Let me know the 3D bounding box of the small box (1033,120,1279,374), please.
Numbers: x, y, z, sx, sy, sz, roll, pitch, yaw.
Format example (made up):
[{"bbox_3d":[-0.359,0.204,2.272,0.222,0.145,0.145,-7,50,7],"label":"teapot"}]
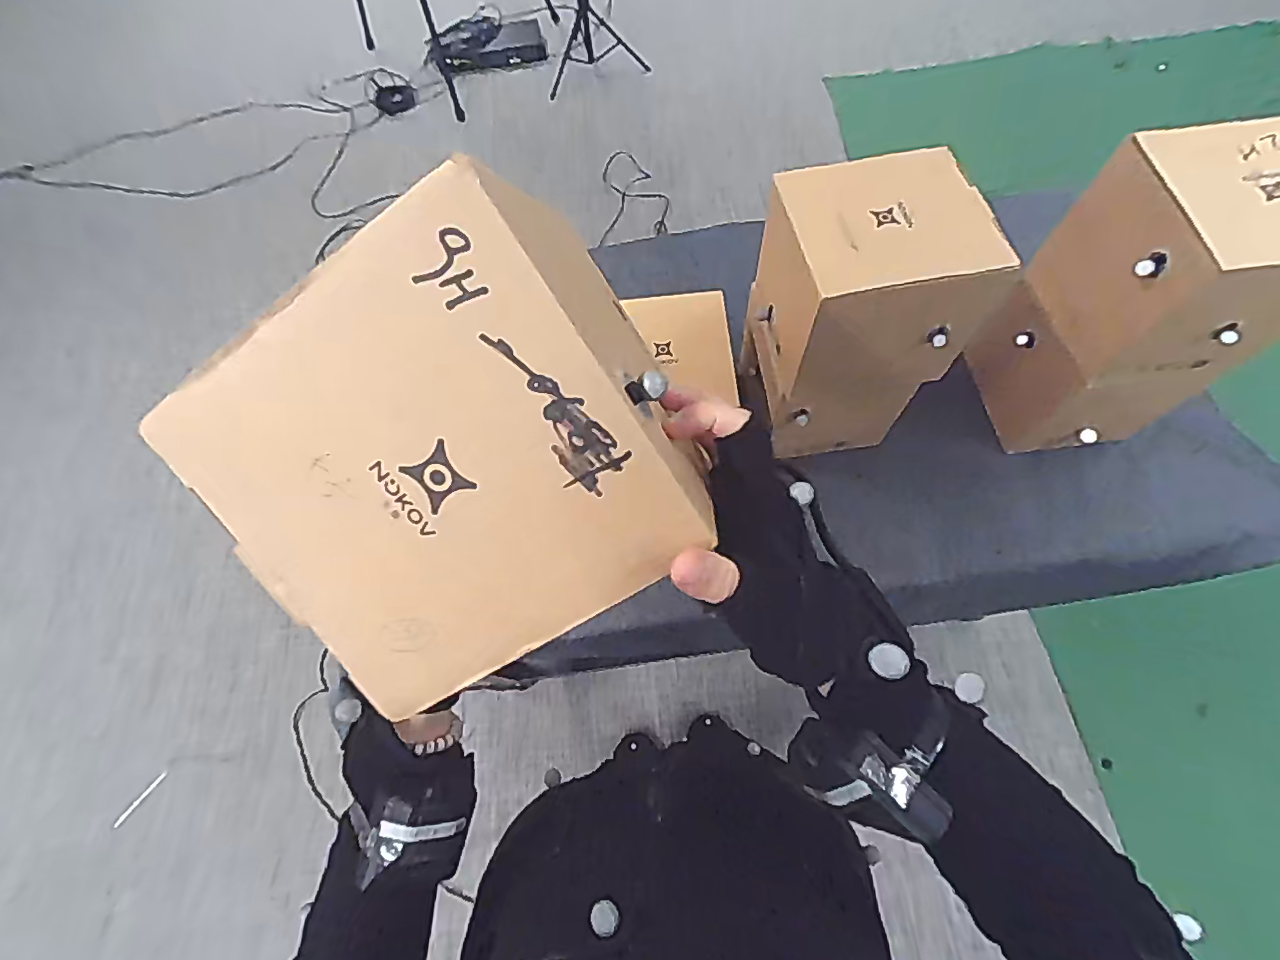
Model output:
[{"bbox_3d":[0.555,-0.222,0.551,0.168,0.176,0.179,-5,65,2],"label":"small box"}]

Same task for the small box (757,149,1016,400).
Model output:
[{"bbox_3d":[0.235,-0.205,0.570,0.179,0.176,0.168,-9,64,1],"label":"small box"}]

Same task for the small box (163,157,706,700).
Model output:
[{"bbox_3d":[-0.076,-0.026,0.294,0.179,0.176,0.168,-30,102,14],"label":"small box"}]
